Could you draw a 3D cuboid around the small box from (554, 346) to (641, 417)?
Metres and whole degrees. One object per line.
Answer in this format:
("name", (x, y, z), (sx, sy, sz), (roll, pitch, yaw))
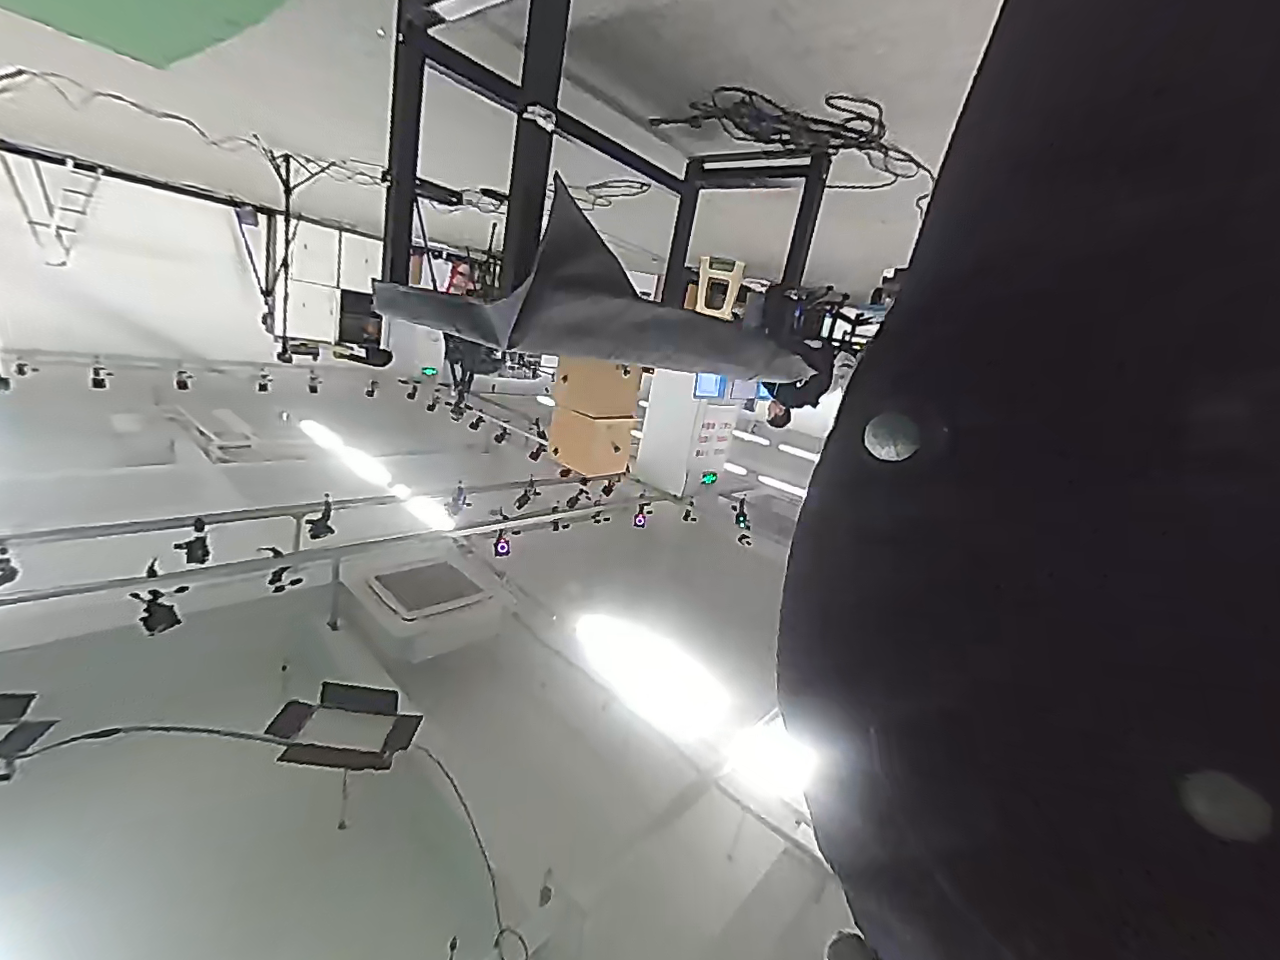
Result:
("small box", (-0.117, -0.280, 1.521), (0.179, 0.176, 0.168), (22, -160, 36))

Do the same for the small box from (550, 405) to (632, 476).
("small box", (-0.138, -0.124, 1.564), (0.179, 0.176, 0.168), (25, -158, 36))
